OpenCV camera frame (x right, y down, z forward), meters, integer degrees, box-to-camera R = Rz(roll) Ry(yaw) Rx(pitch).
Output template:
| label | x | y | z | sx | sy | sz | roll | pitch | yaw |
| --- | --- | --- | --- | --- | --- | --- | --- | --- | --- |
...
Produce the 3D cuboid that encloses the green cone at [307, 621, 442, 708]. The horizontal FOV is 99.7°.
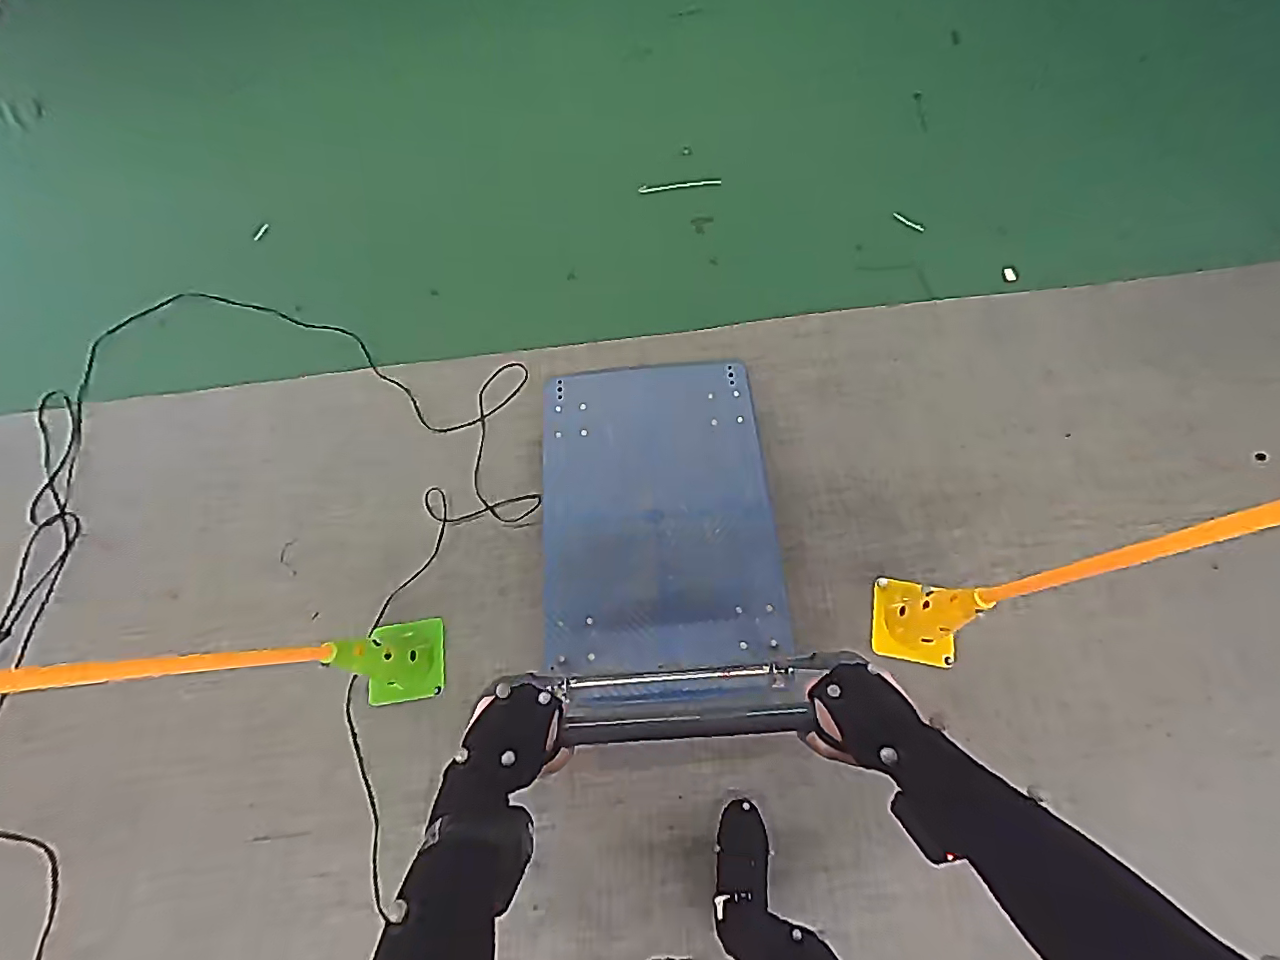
| label | x | y | z | sx | sy | sz | roll | pitch | yaw |
| --- | --- | --- | --- | --- | --- | --- | --- | --- | --- |
| green cone | -0.637 | 0.418 | 1.263 | 0.202 | 0.368 | 0.200 | -11 | 67 | 2 |
